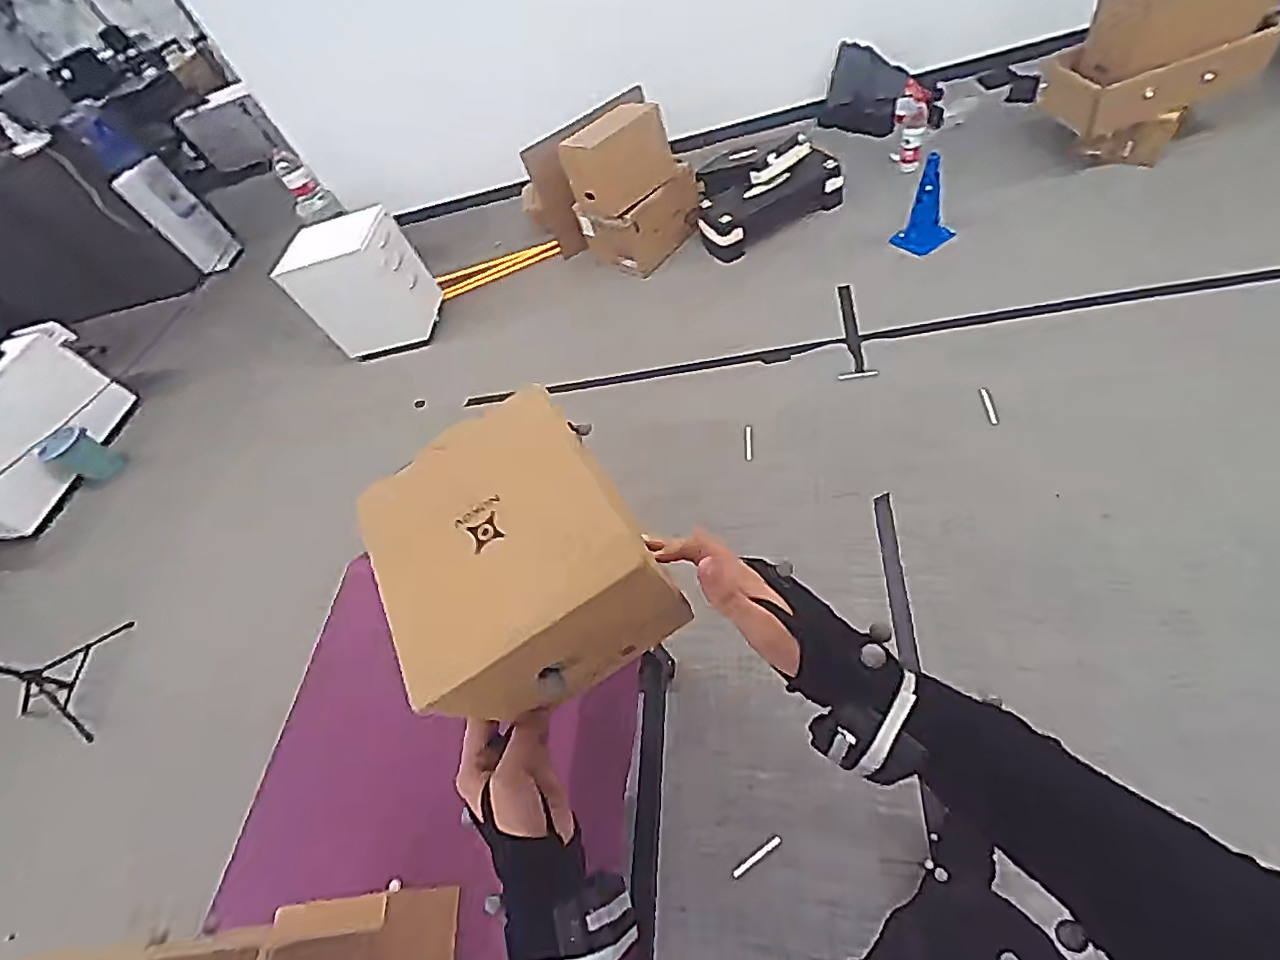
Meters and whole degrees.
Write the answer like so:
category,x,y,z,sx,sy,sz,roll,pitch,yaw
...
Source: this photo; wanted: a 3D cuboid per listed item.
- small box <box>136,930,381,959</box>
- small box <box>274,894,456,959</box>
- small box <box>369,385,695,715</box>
category,x,y,z,sx,sy,sz,roll,pitch,yaw
small box,-0.411,0.580,0.555,0.179,0.176,0.168,-10,54,13
small box,-0.357,0.653,0.695,0.168,0.176,0.179,-15,52,9
small box,-0.074,0.066,0.432,0.168,0.176,0.179,-33,59,-1
